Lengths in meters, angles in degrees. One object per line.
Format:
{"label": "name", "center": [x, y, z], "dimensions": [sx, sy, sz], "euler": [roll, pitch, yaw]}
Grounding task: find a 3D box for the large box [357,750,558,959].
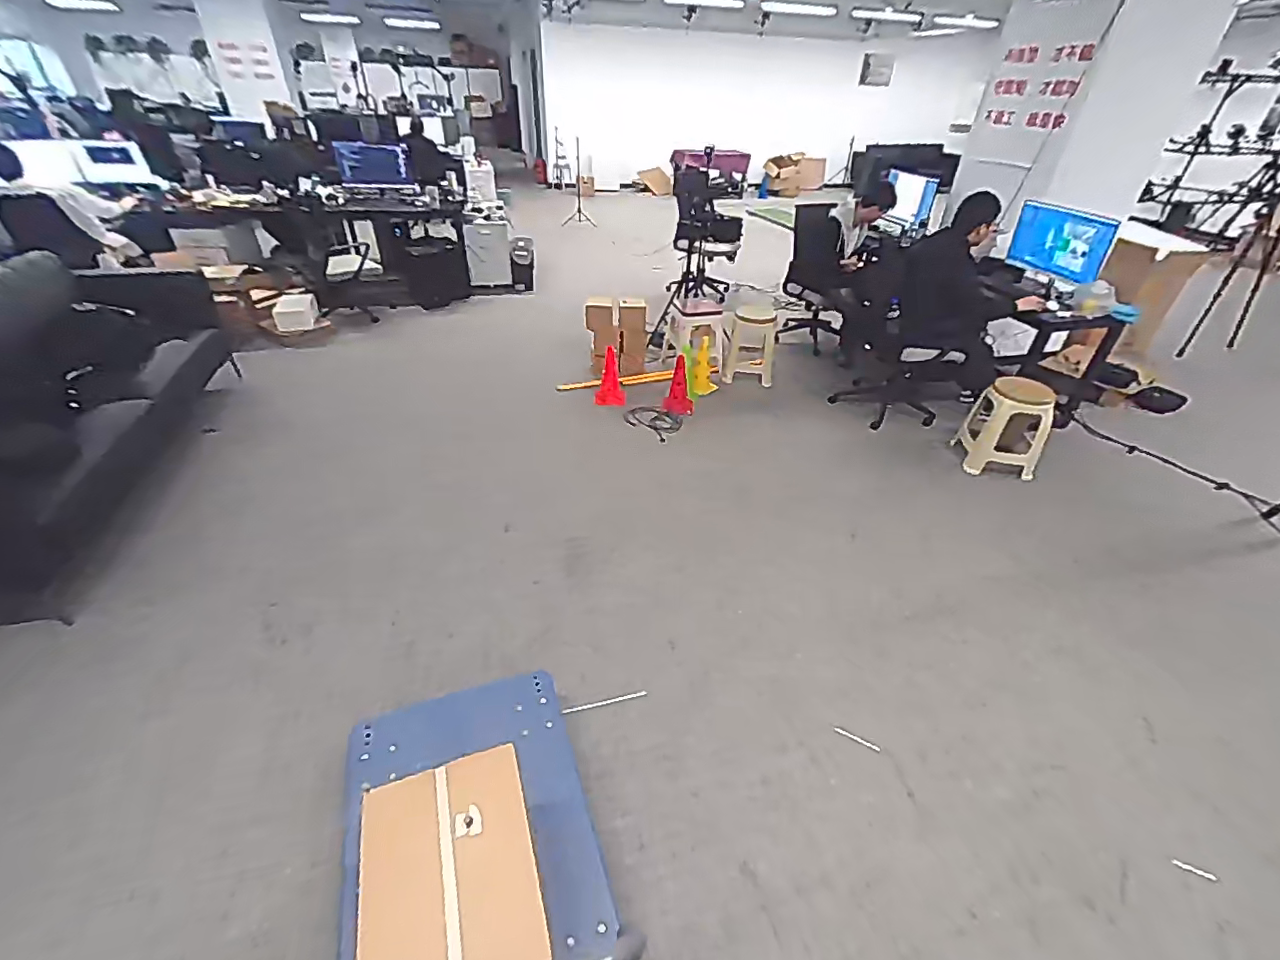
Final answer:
{"label": "large box", "center": [-0.360, 0.858, 1.095], "dimensions": [0.320, 0.320, 0.408], "euler": [-11, 37, -18]}
